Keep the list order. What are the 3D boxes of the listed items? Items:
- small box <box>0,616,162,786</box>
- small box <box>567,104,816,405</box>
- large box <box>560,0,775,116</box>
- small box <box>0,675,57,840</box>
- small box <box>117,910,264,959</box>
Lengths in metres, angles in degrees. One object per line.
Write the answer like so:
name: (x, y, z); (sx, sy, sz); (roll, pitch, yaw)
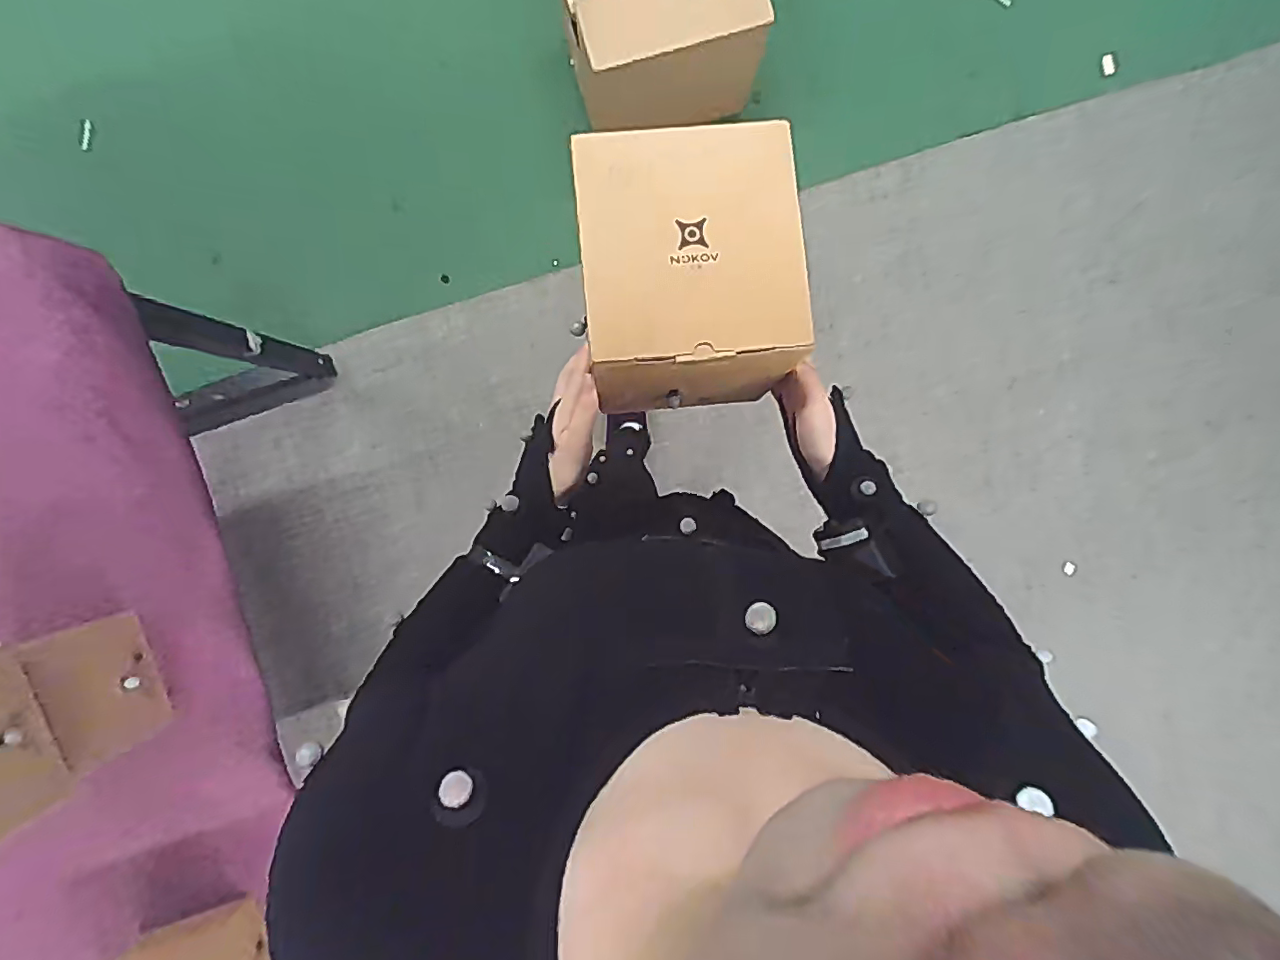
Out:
small box: (-0.746, 0.284, 0.649); (0.179, 0.176, 0.168); (-17, 94, -1)
small box: (0.032, -0.174, 0.463); (0.168, 0.176, 0.179); (-6, 85, -2)
large box: (0.045, -1.053, 1.270); (0.408, 0.320, 0.320); (-16, 94, -2)
small box: (-0.712, 0.290, 0.486); (0.168, 0.176, 0.179); (-20, 93, -1)
small box: (-0.603, 0.694, 0.670); (0.179, 0.176, 0.168); (-19, 94, 0)
